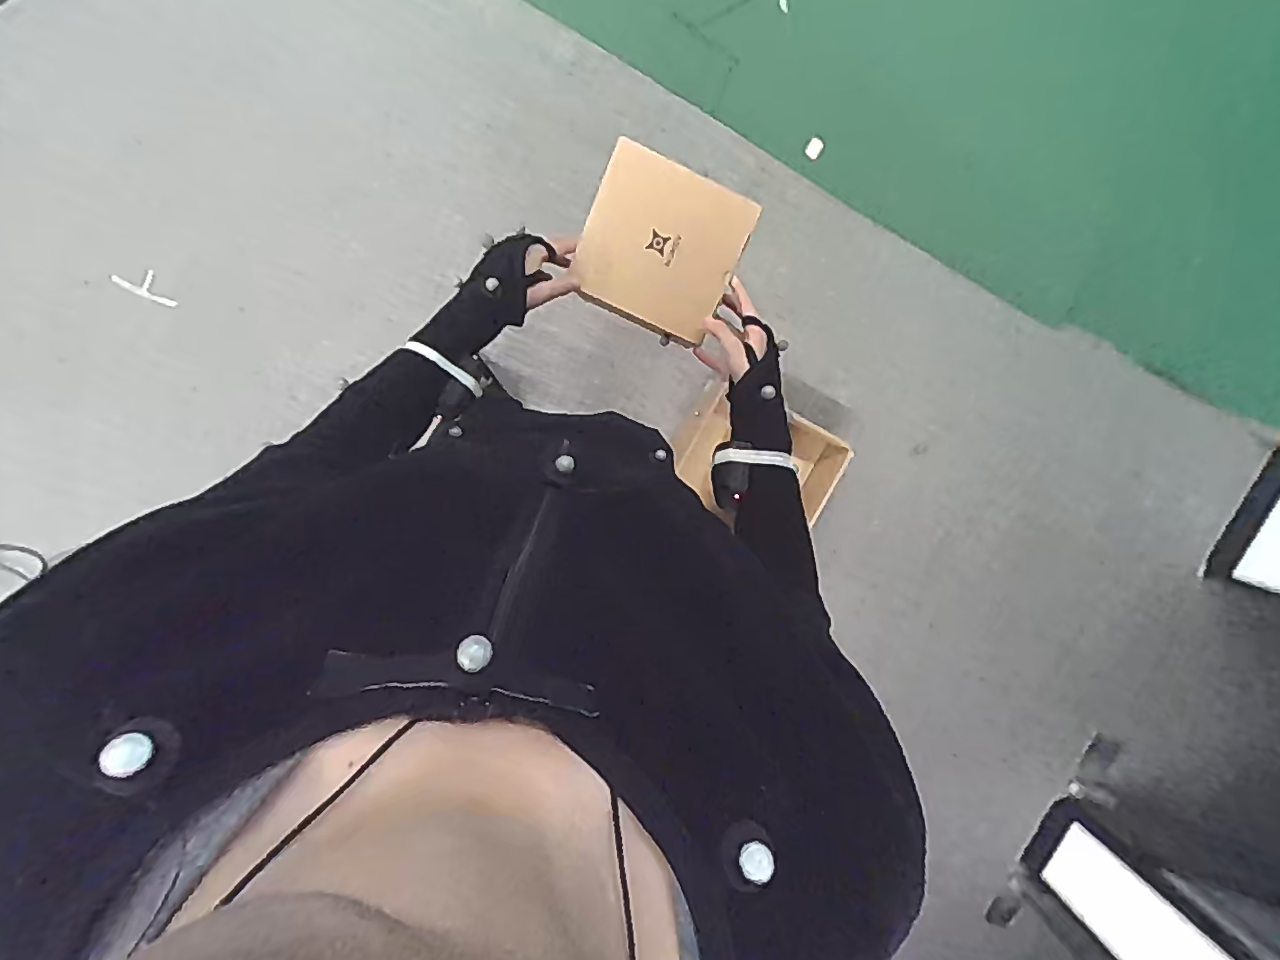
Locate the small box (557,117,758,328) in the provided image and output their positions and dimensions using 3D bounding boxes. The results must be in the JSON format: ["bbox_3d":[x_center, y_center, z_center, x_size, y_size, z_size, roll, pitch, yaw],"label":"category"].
[{"bbox_3d":[0.017,-0.296,0.669,0.179,0.176,0.168,23,103,-5],"label":"small box"}]
